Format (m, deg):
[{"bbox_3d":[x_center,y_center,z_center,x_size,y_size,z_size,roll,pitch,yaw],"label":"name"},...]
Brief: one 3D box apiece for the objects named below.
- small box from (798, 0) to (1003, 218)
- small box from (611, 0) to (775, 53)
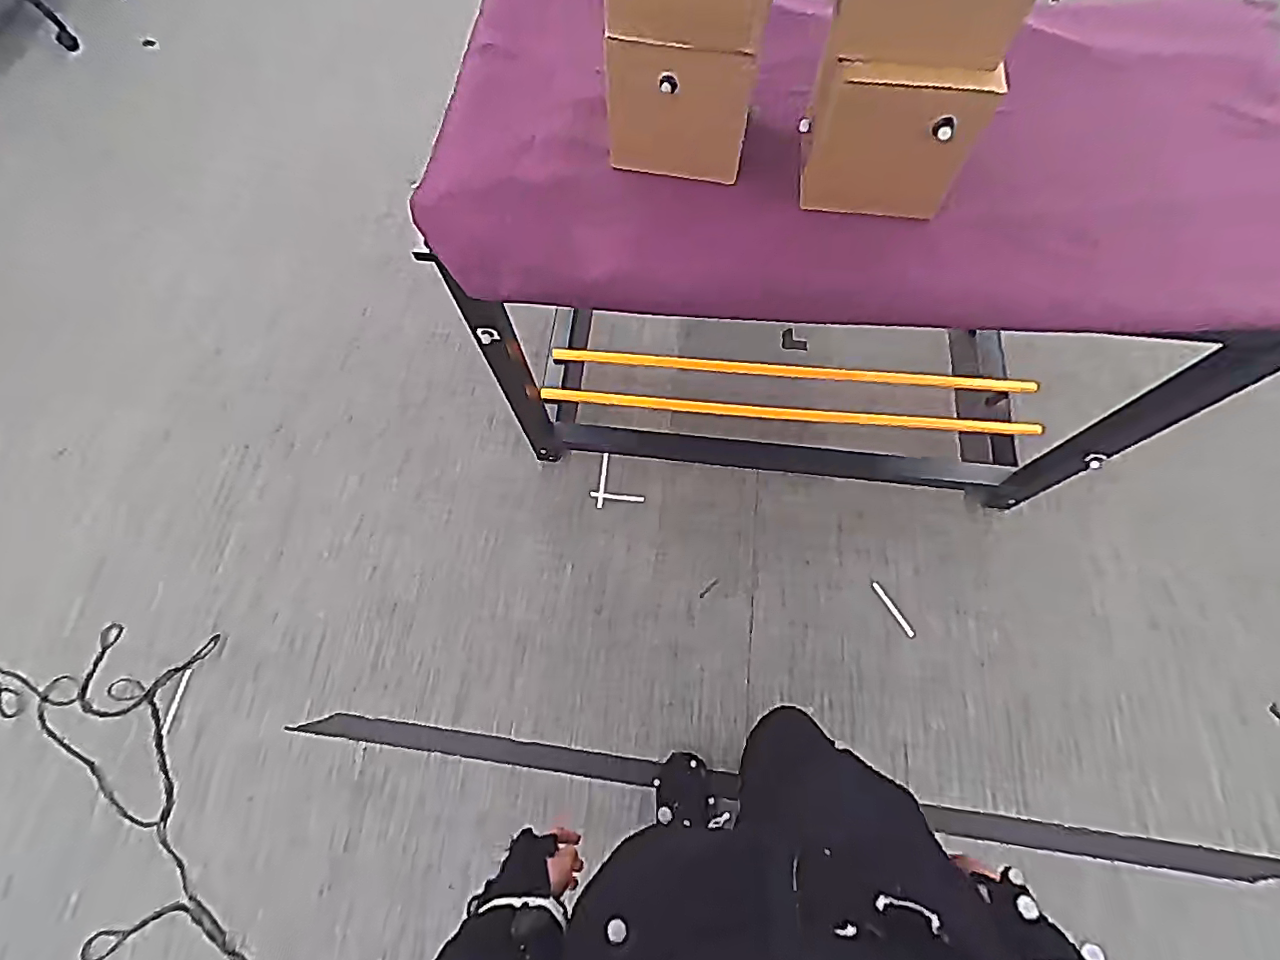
[{"bbox_3d":[0.311,-0.458,0.679,0.179,0.176,0.168,7,68,3],"label":"small box"},{"bbox_3d":[0.070,-0.587,0.557,0.179,0.176,0.168,14,70,6],"label":"small box"}]
